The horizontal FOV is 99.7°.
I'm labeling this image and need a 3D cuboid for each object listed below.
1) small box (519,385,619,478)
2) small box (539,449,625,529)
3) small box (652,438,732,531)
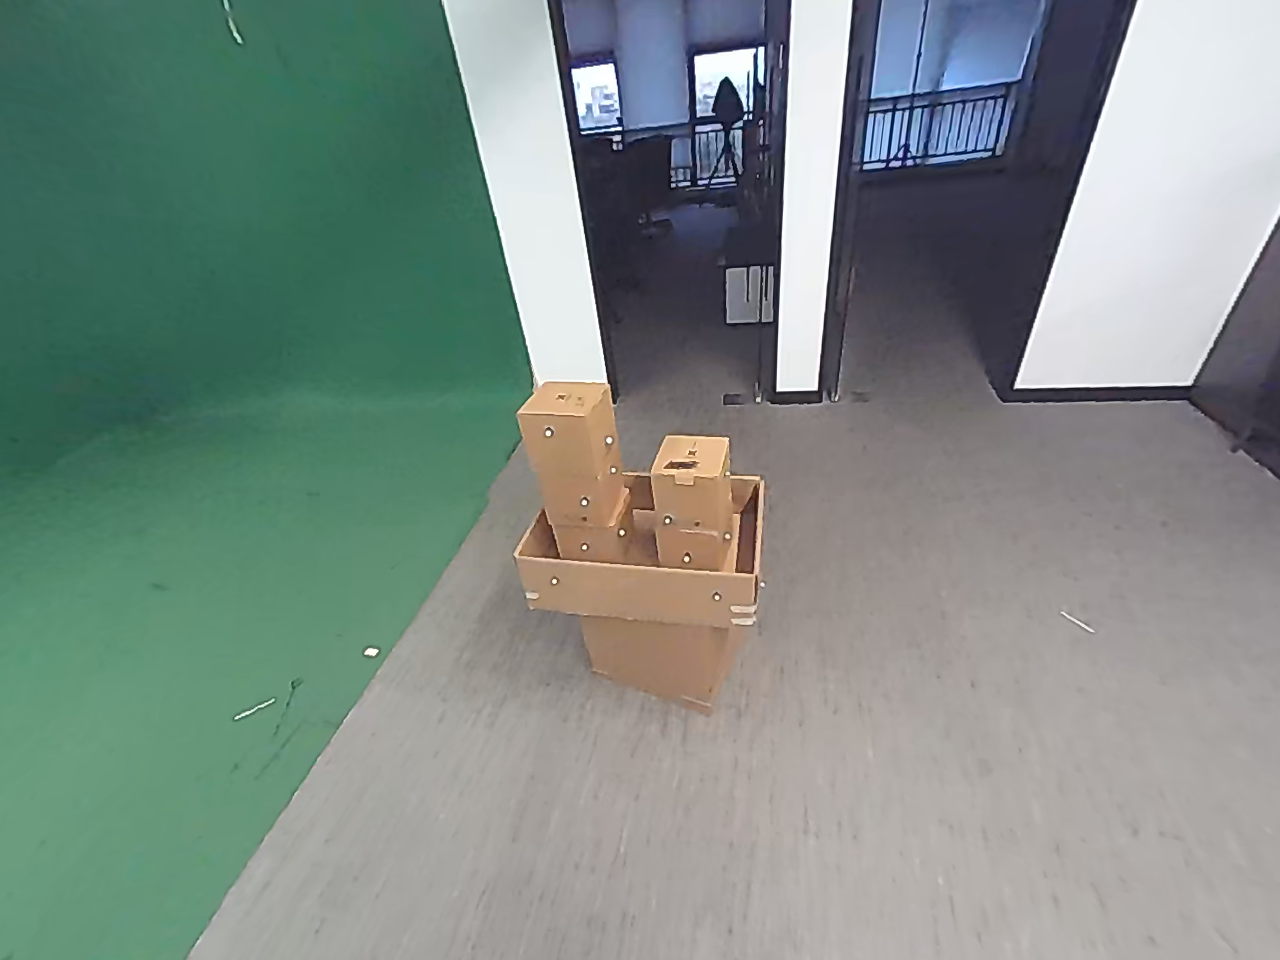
[{"bbox_3d":[-0.165,-0.118,1.317,0.179,0.176,0.168,5,38,17],"label":"small box"},{"bbox_3d":[-0.142,0.011,1.418,0.168,0.176,0.179,2,36,14],"label":"small box"},{"bbox_3d":[0.139,0.010,1.357,0.168,0.176,0.179,3,36,17],"label":"small box"}]
